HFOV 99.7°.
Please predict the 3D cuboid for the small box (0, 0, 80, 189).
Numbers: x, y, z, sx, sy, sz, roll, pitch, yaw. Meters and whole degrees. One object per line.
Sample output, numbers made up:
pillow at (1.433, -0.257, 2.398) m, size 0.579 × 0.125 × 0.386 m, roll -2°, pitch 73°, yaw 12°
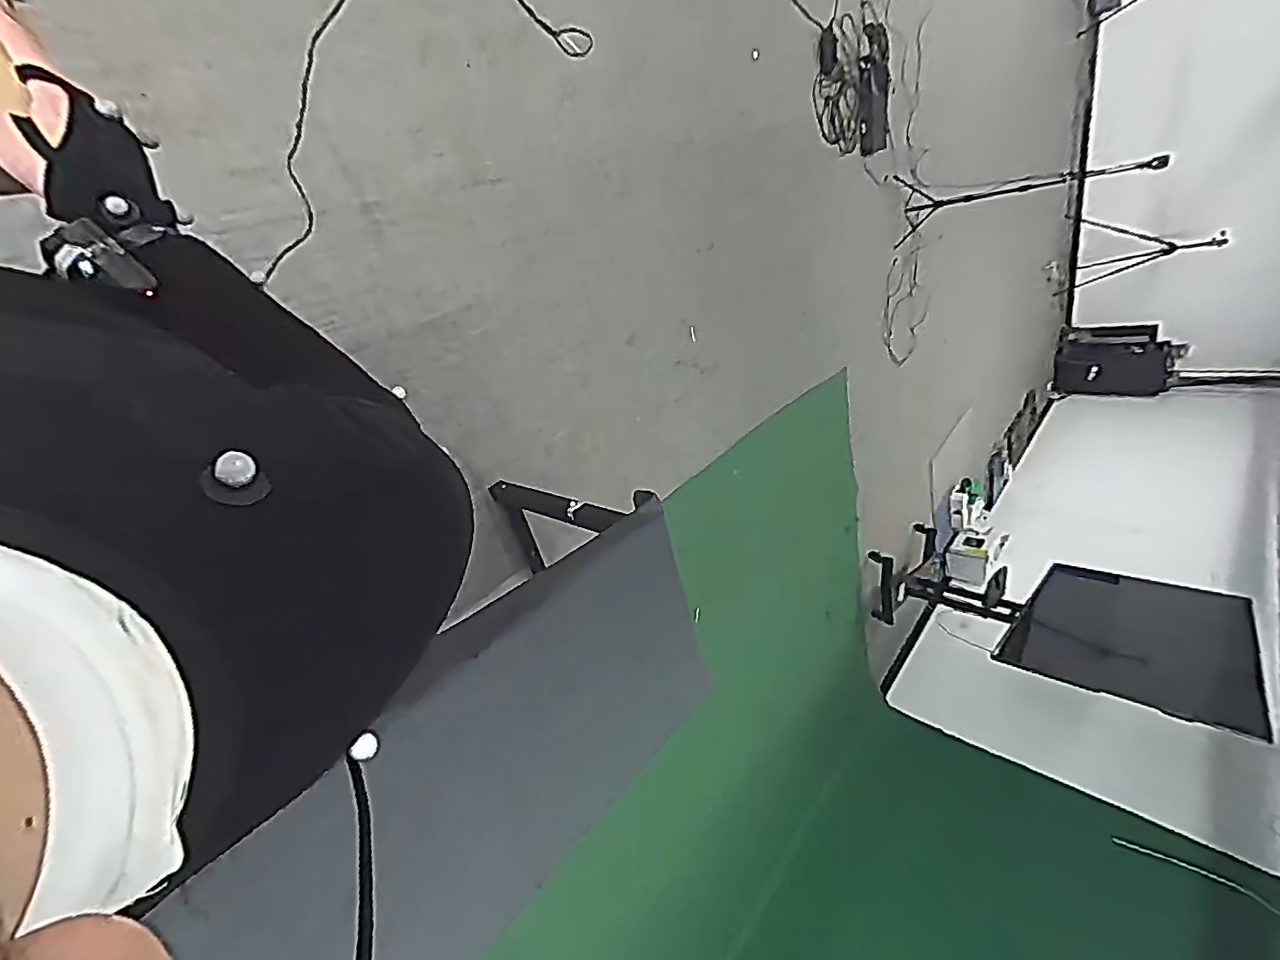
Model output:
small box at (-0.570, -0.326, 0.396) m, size 0.179 × 0.176 × 0.168 m, roll -22°, pitch 108°, yaw -27°
